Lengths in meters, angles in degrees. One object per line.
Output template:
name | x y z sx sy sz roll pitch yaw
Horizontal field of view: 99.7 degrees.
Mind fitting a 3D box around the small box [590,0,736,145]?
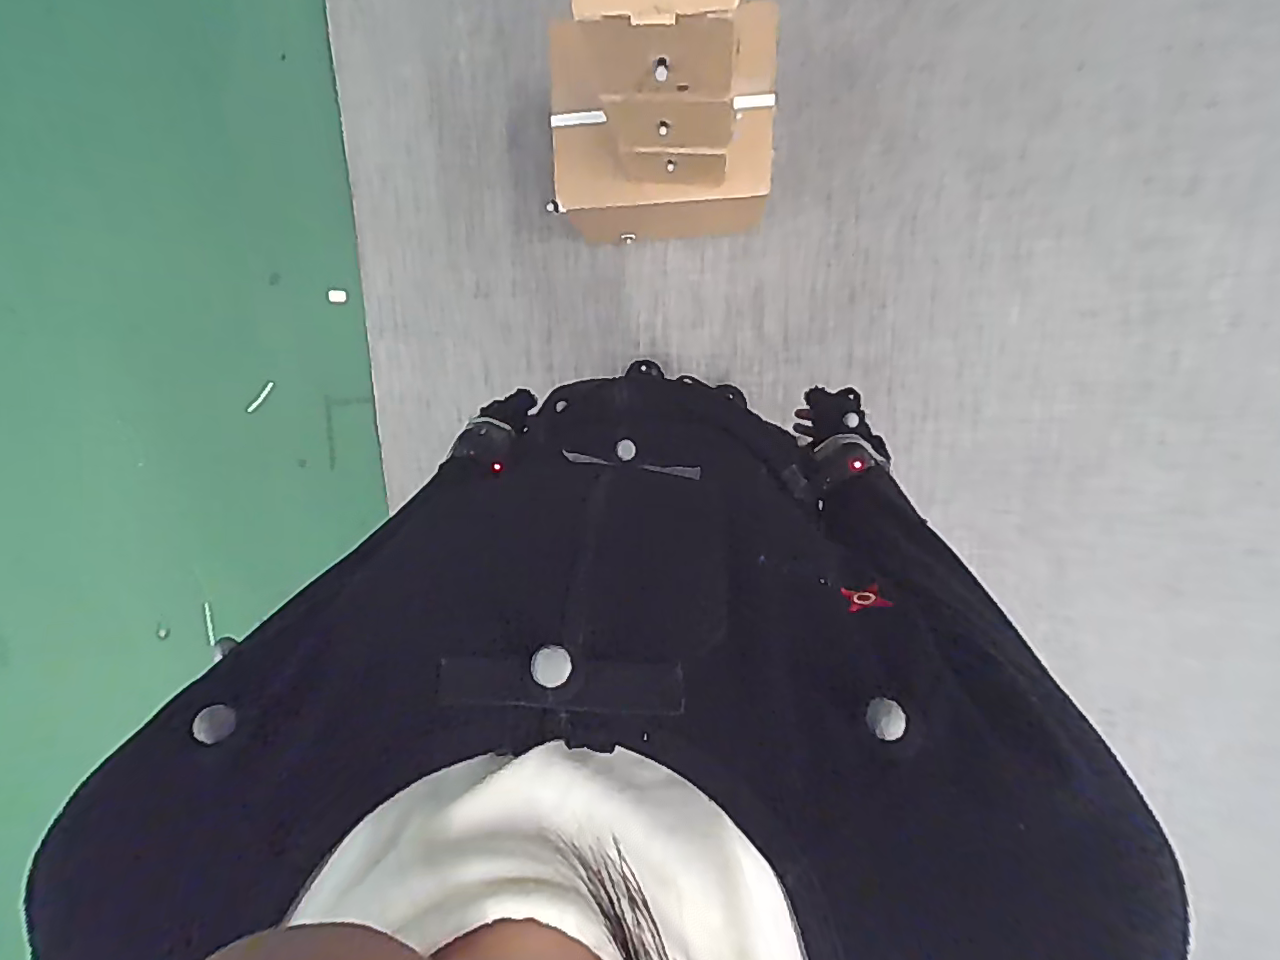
small box | 0.038 -0.584 0.746 0.179 0.176 0.168 6 104 8

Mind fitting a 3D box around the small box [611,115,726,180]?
small box | 0.055 -0.618 0.905 0.179 0.176 0.168 5 105 5

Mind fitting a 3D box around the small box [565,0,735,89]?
small box | 0.021 -0.554 0.585 0.168 0.176 0.179 5 105 6
